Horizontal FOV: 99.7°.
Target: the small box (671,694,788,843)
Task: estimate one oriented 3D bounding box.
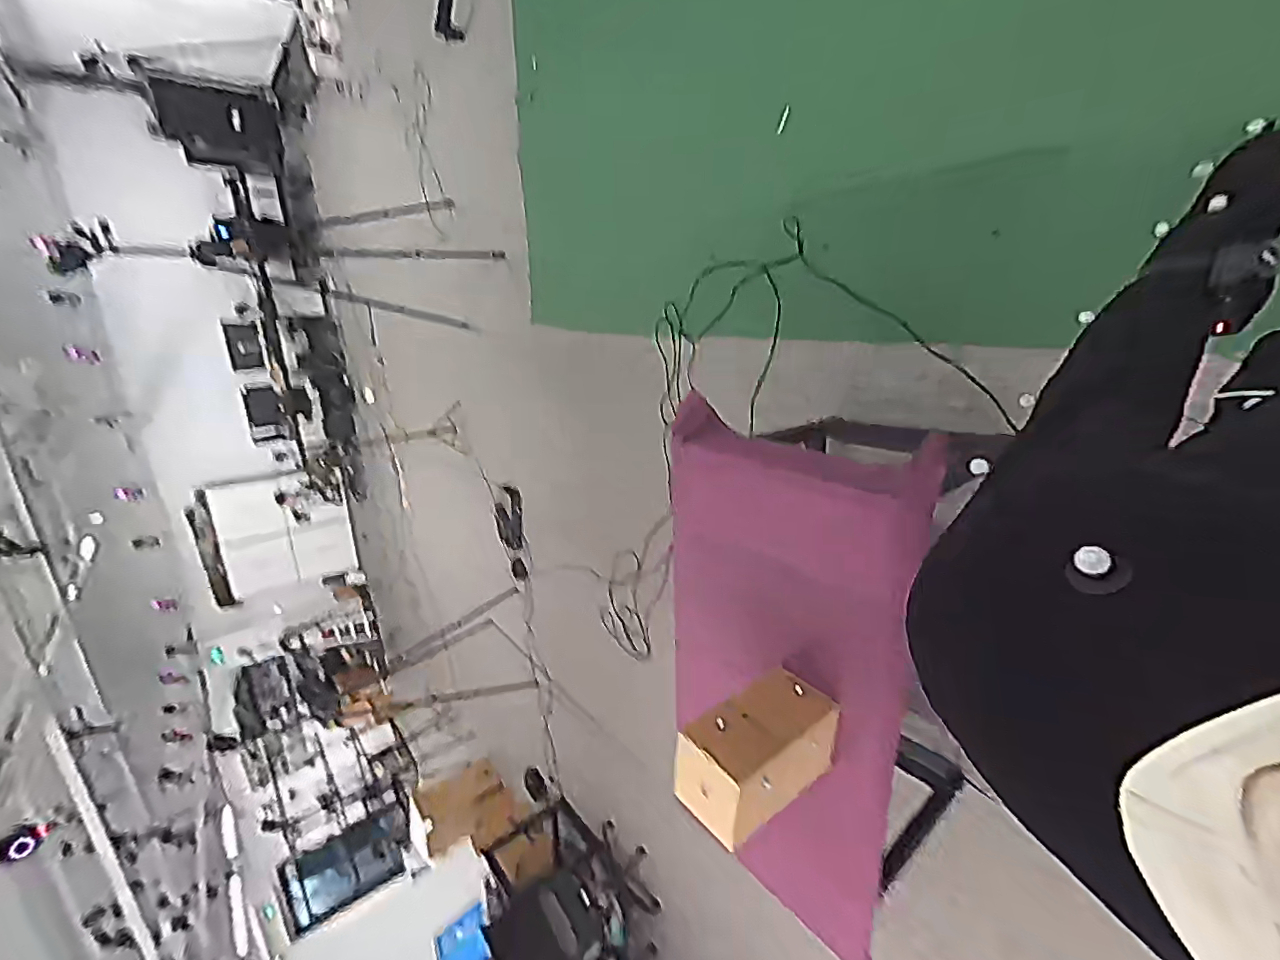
[{"bbox_3d":[0.184,0.579,1.114,0.168,0.176,0.179,25,120,46],"label":"small box"}]
